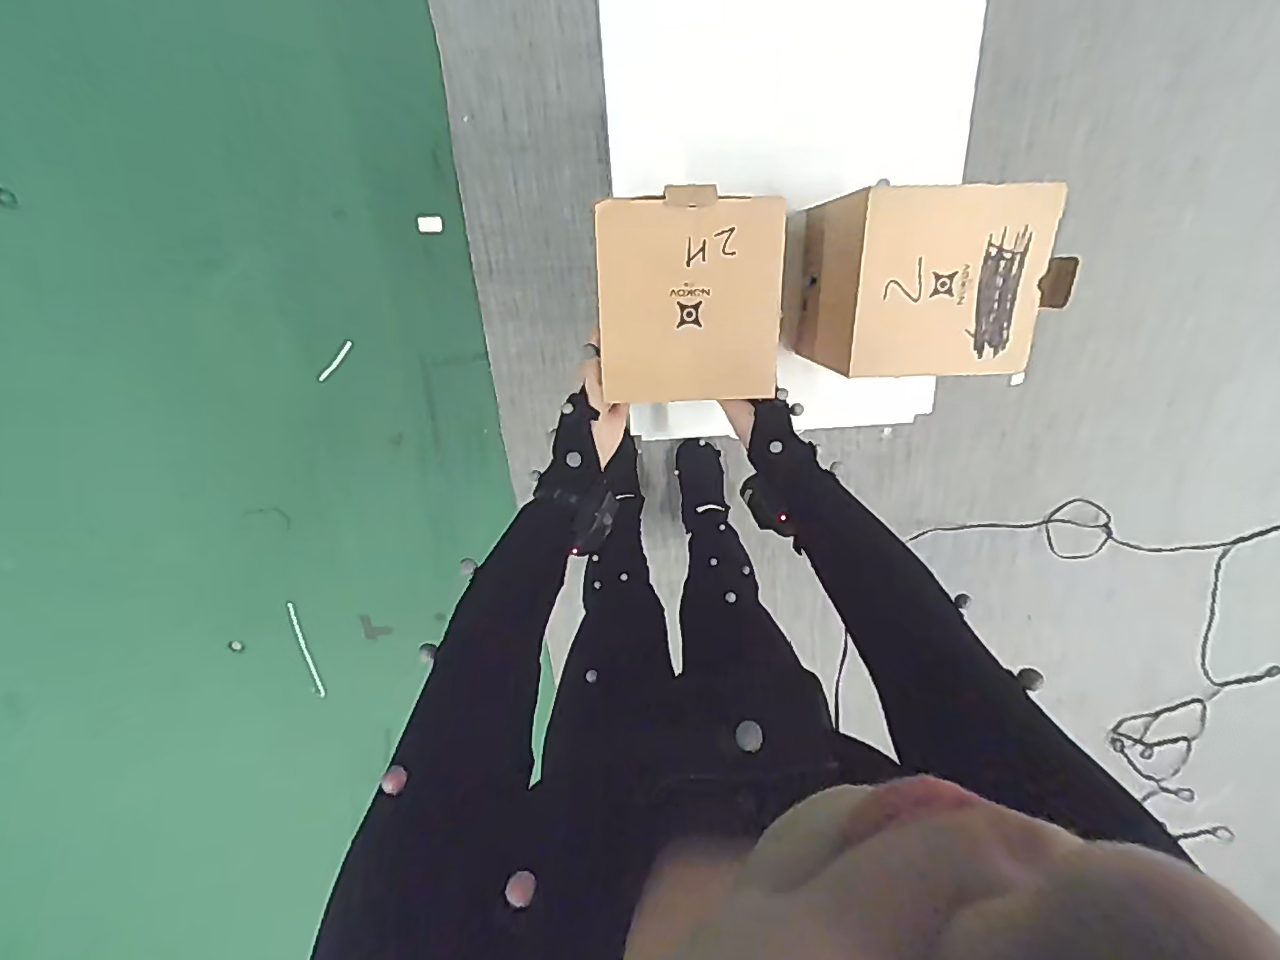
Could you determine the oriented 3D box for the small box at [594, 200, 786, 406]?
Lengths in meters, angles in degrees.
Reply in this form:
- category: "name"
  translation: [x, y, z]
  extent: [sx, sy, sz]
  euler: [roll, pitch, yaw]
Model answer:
- category: "small box"
  translation: [0.039, -0.181, 0.558]
  extent: [0.168, 0.176, 0.179]
  euler: [-3, 109, -4]
